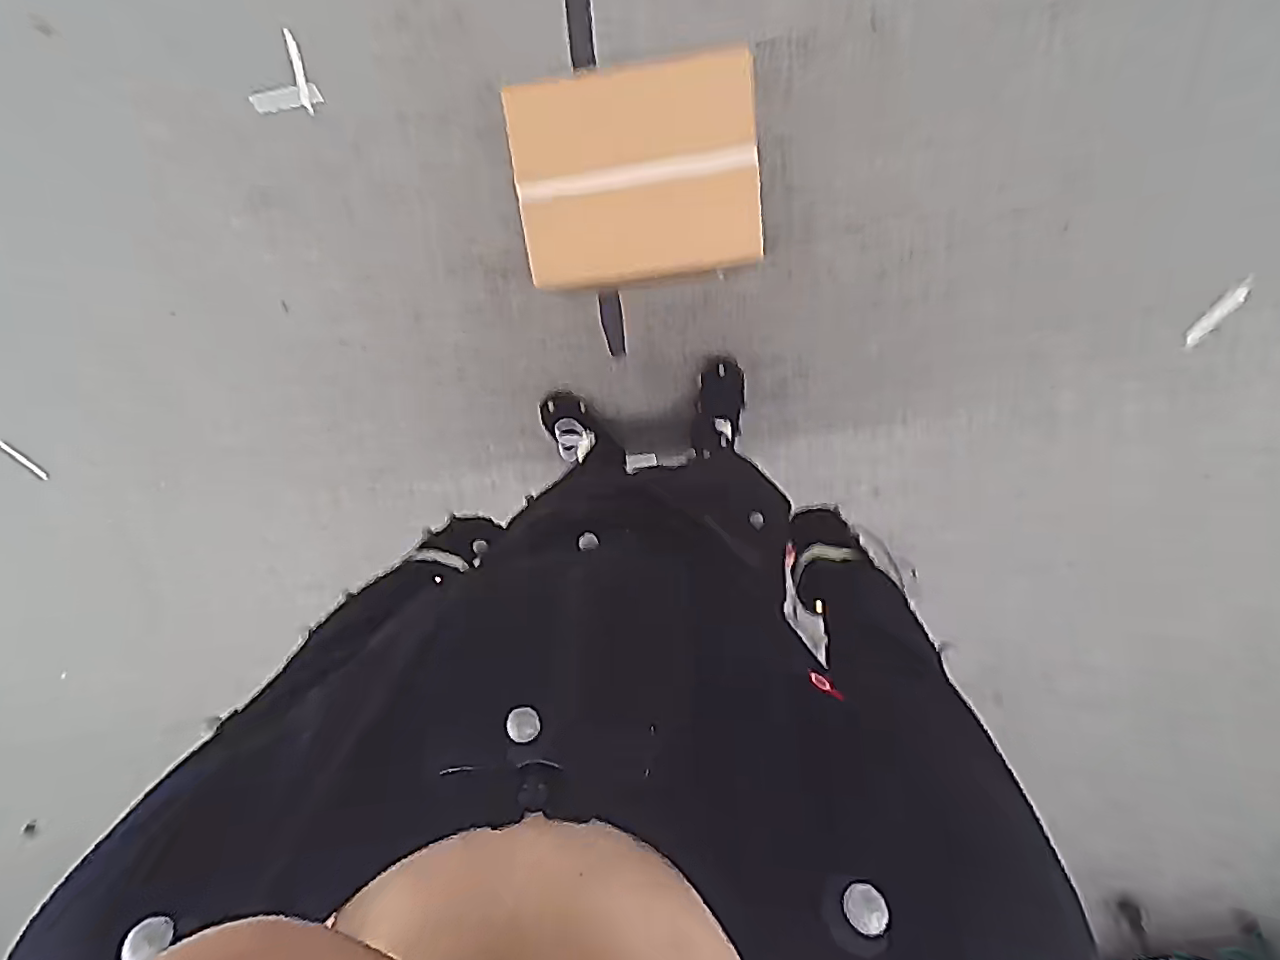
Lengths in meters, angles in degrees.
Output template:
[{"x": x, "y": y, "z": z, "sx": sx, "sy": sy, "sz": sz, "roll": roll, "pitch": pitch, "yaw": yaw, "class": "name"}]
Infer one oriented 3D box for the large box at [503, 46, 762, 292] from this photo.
[{"x": 0.002, "y": -0.552, "z": 1.040, "sx": 0.408, "sy": 0.320, "sz": 0.320, "roll": -6, "pitch": 106, "yaw": 5, "class": "large box"}]
